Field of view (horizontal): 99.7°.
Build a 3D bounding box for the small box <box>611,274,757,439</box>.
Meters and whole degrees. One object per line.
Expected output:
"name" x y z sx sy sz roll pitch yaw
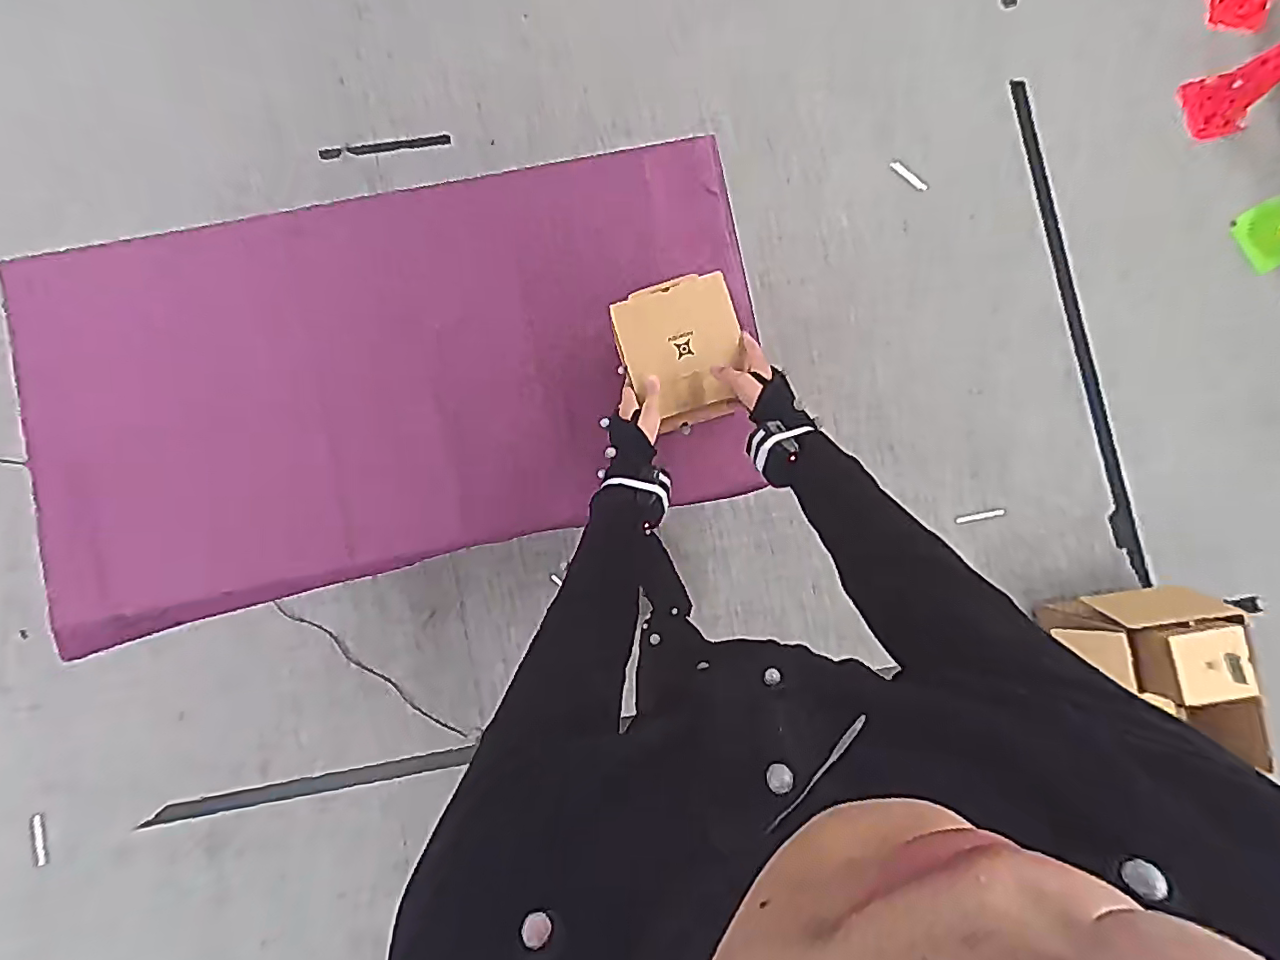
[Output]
"small box" 0.061 -0.176 0.824 0.168 0.176 0.179 -18 86 1
